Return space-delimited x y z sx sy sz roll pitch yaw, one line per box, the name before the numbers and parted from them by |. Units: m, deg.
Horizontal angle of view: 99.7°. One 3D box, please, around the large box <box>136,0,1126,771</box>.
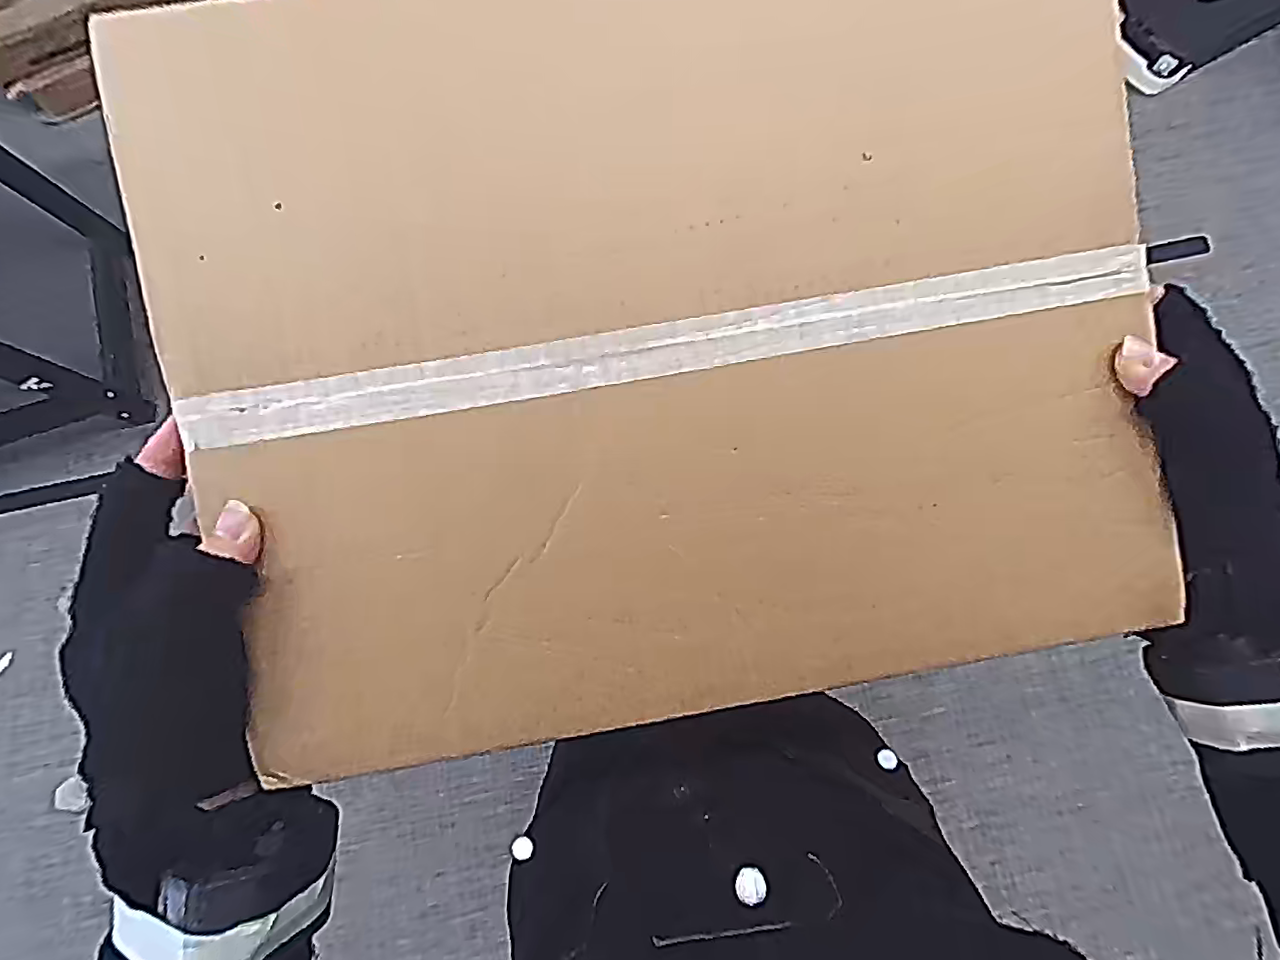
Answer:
large box | 0.007 -0.064 0.386 0.408 0.320 0.320 -9 93 -2
